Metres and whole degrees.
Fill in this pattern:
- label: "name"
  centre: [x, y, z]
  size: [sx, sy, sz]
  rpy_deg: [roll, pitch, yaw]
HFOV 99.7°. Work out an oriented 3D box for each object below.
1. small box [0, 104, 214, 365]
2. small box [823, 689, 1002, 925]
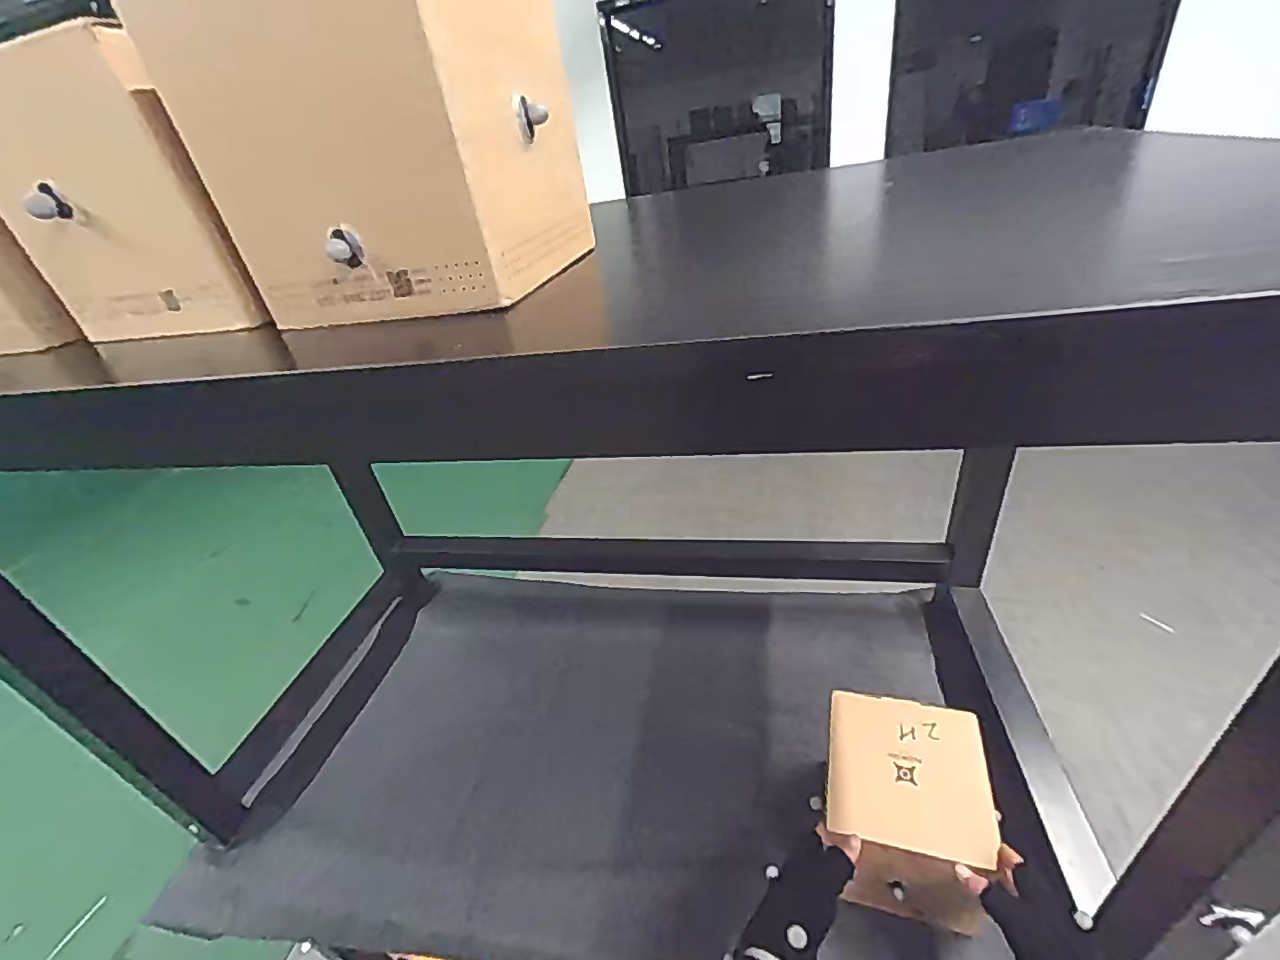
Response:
- label: "small box"
  centre: [-0.520, -0.207, 0.463]
  size: [0.168, 0.176, 0.179]
  rpy_deg: [0, 34, 16]
- label: "small box"
  centre: [0.313, 0.391, 0.654]
  size: [0.168, 0.176, 0.179]
  rpy_deg: [4, 36, 20]
